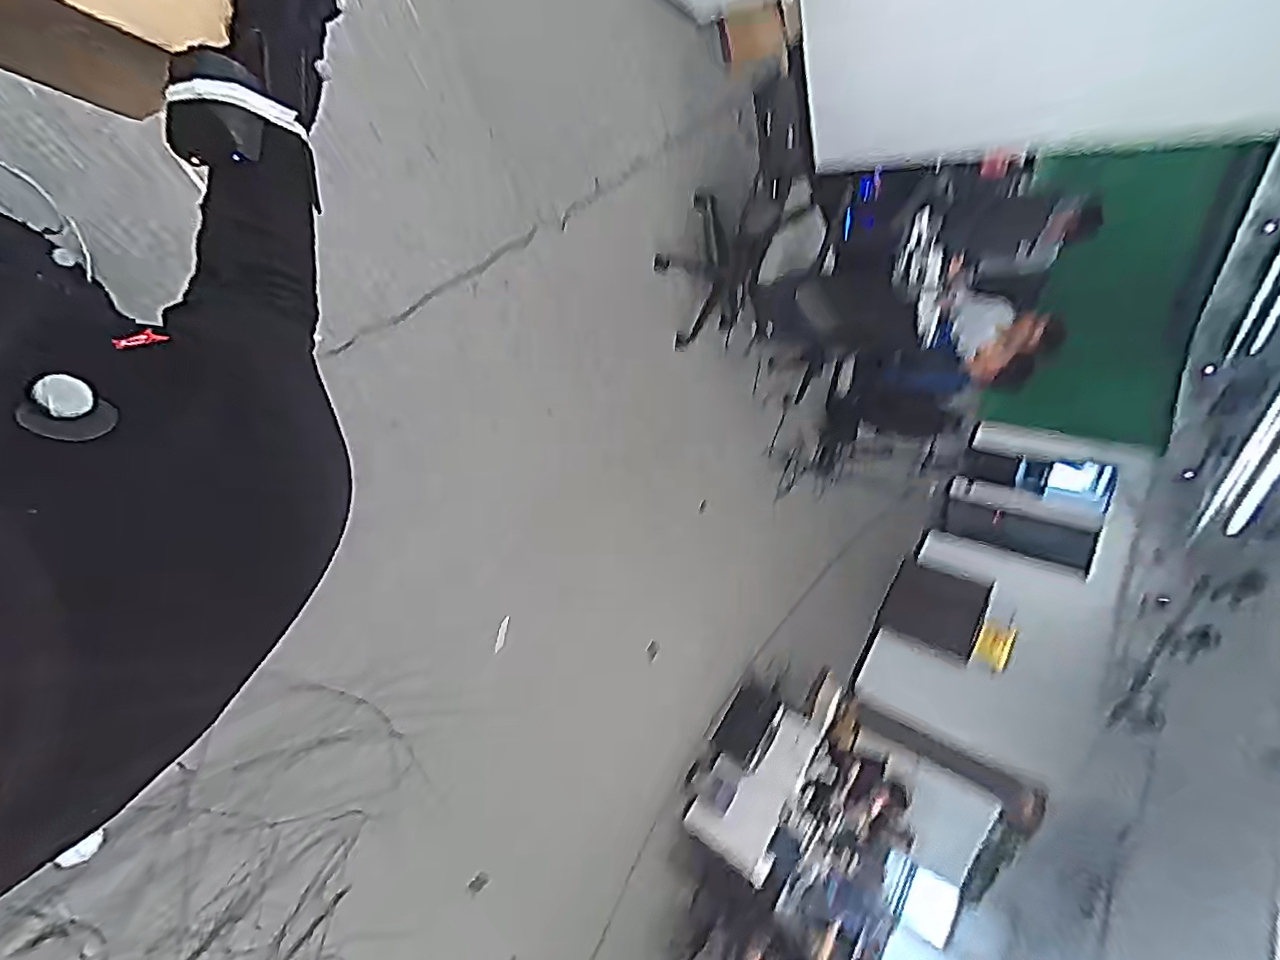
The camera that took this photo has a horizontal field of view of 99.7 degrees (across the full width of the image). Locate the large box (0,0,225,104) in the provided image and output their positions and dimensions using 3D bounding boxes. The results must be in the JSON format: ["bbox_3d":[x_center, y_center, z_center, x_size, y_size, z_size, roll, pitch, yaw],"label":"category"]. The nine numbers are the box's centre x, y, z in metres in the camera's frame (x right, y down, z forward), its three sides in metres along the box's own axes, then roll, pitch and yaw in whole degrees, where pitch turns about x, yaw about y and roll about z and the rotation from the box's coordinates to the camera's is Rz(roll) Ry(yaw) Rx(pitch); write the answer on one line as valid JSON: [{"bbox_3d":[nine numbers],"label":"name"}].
[{"bbox_3d":[-0.521,-0.489,0.303,0.408,0.320,0.320,-3,110,-53],"label":"large box"}]
